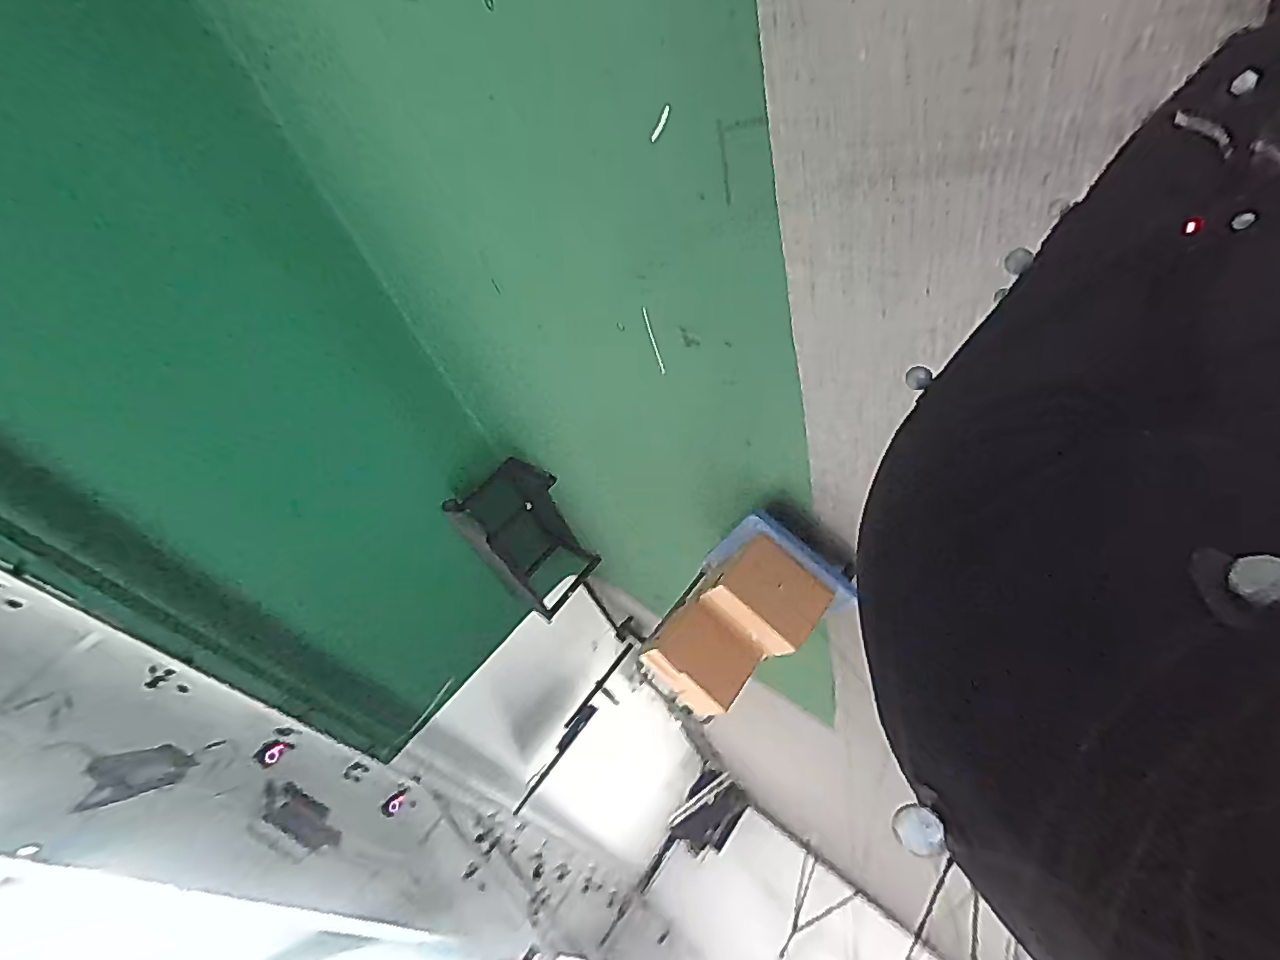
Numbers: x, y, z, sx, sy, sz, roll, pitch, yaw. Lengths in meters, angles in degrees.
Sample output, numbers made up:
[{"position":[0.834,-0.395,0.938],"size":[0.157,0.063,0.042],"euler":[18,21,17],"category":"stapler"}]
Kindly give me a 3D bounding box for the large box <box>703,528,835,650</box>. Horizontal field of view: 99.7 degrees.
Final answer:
[{"position":[0.552,0.479,2.360],"size":[0.408,0.320,0.320],"euler":[40,158,6],"category":"large box"}]
